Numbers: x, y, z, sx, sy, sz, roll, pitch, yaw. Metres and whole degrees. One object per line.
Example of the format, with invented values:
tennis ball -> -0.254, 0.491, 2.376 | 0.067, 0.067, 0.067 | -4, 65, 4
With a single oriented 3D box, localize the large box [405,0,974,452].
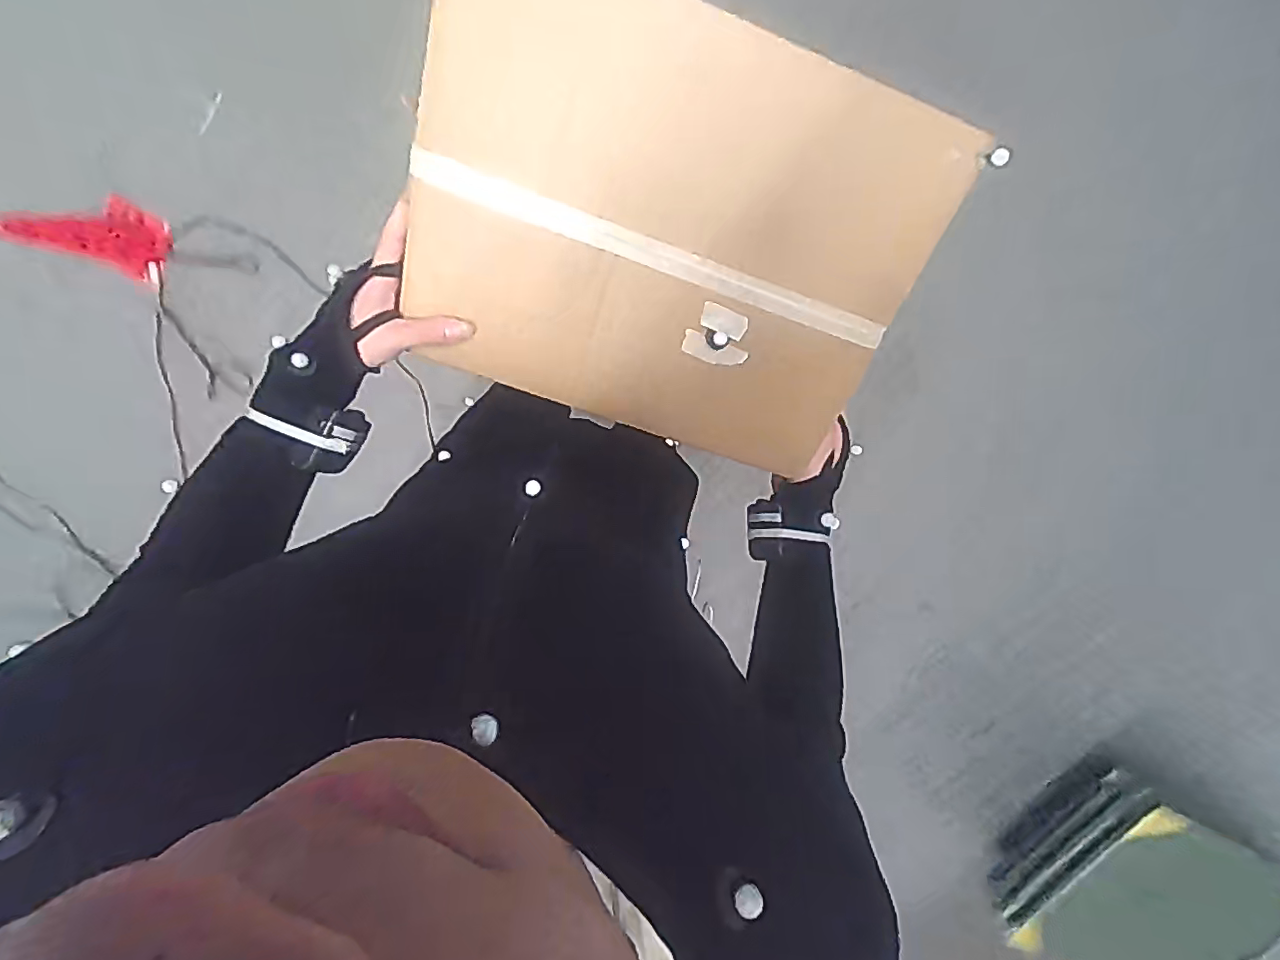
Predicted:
large box -> 0.016, -0.278, 0.574 | 0.408, 0.320, 0.320 | 16, 121, -9
